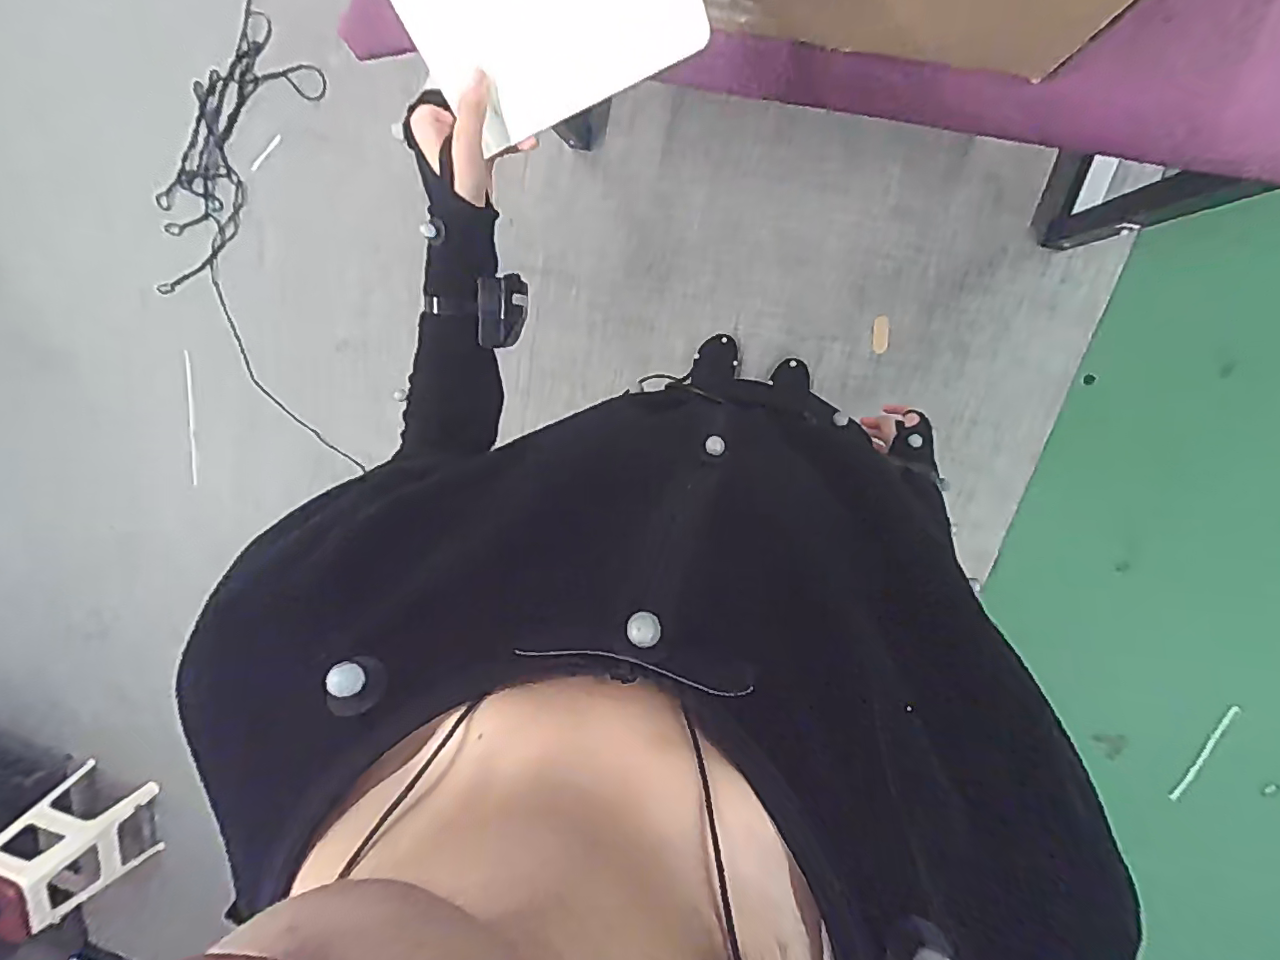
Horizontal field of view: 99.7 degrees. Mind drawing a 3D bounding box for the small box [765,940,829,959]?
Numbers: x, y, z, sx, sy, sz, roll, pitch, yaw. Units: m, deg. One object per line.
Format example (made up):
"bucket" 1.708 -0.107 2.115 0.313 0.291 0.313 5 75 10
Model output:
"small box" 0.404 1.331 1.378 0.168 0.176 0.179 2 104 12
